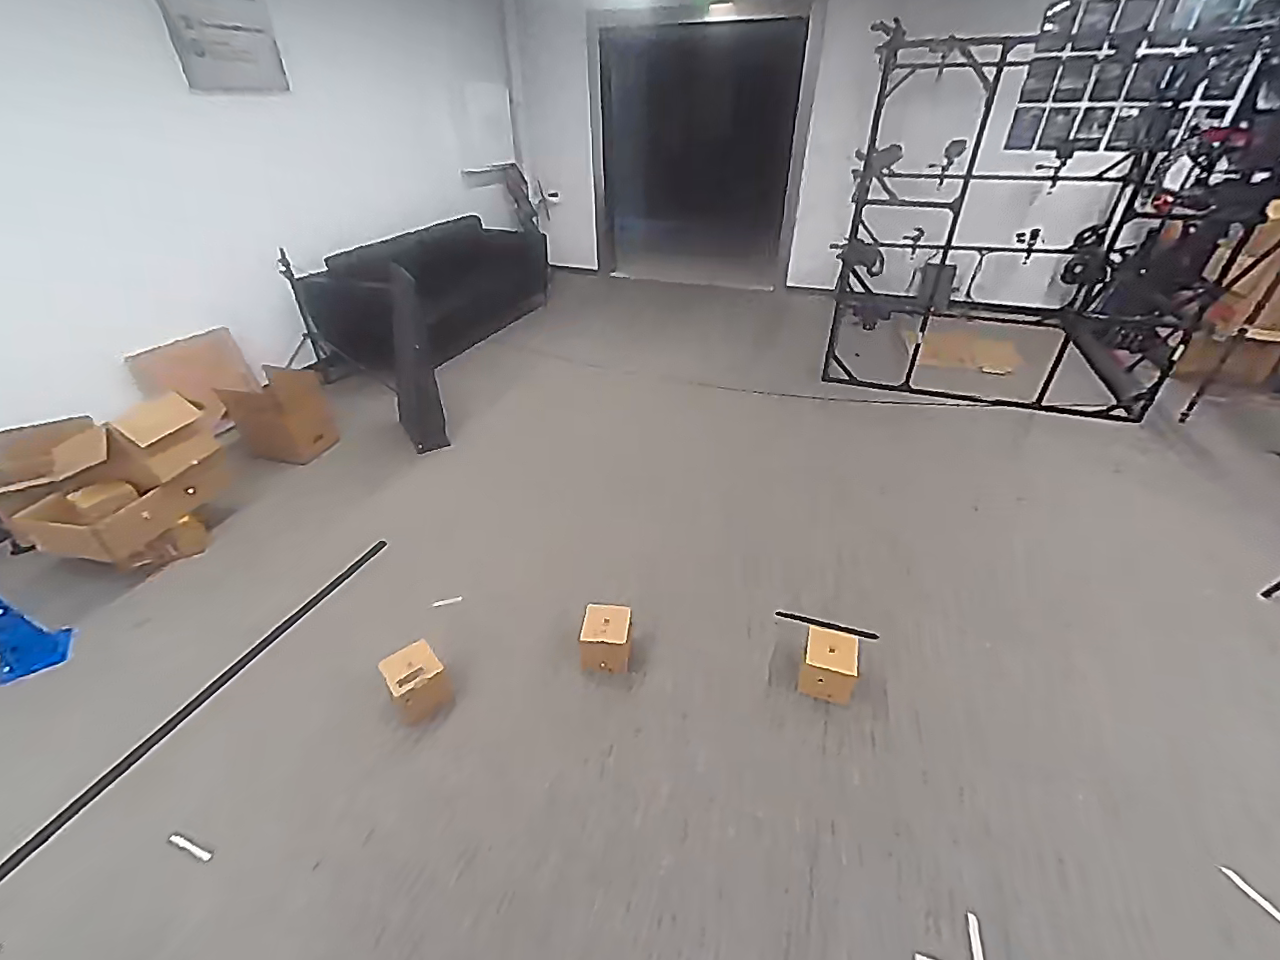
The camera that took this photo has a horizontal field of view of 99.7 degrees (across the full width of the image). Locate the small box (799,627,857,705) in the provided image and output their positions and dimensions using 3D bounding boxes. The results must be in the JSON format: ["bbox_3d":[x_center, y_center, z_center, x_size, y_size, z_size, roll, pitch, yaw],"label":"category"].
[{"bbox_3d":[0.656,0.650,1.890,0.168,0.176,0.179,10,35,16],"label":"small box"}]

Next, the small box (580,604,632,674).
[{"bbox_3d":[-0.121,0.584,1.991,0.168,0.176,0.179,3,34,5],"label":"small box"}]
